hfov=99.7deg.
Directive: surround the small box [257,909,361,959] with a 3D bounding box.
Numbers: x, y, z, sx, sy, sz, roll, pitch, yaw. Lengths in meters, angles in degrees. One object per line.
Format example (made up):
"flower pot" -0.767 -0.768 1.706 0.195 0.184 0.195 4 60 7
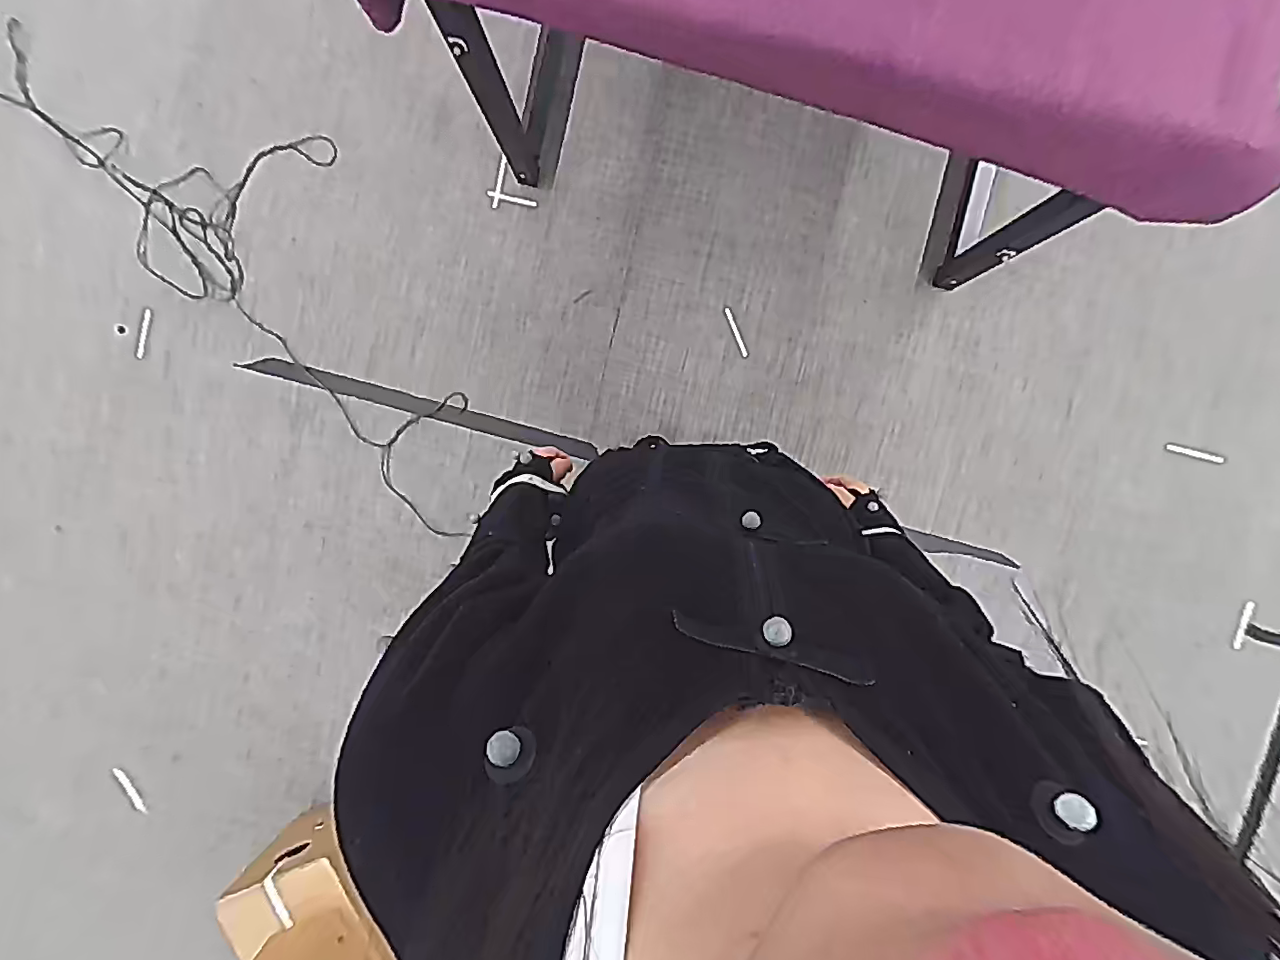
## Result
"small box" -0.752 1.108 1.196 0.179 0.176 0.168 -25 93 3
